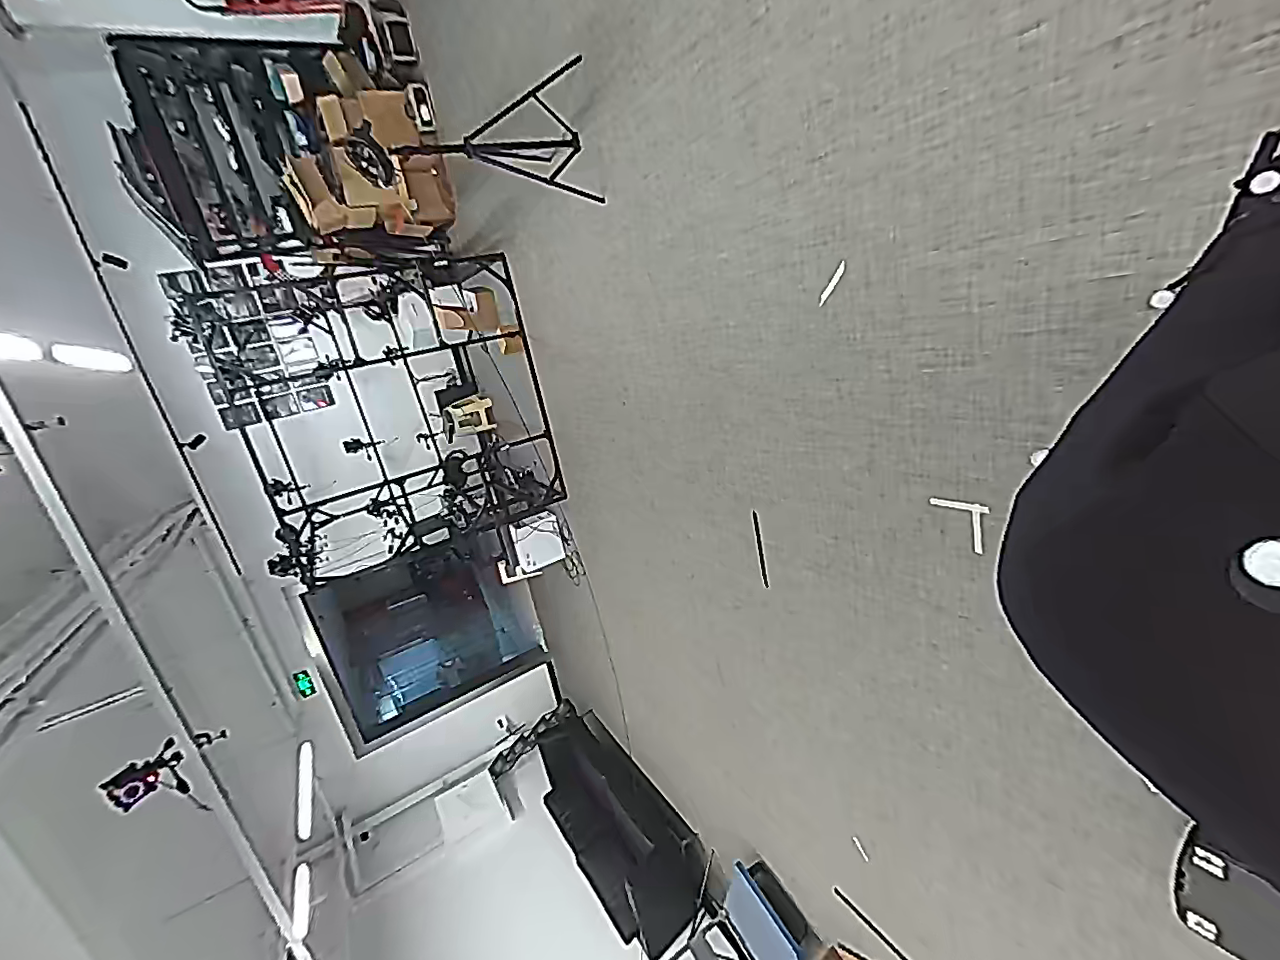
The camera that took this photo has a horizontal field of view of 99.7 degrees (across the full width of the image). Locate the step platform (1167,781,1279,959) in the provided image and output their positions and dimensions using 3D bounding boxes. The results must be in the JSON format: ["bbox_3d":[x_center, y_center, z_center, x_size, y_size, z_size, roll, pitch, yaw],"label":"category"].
[{"bbox_3d":[1.470,0.917,1.018,0.684,0.204,0.286,18,124,60],"label":"step platform"}]
